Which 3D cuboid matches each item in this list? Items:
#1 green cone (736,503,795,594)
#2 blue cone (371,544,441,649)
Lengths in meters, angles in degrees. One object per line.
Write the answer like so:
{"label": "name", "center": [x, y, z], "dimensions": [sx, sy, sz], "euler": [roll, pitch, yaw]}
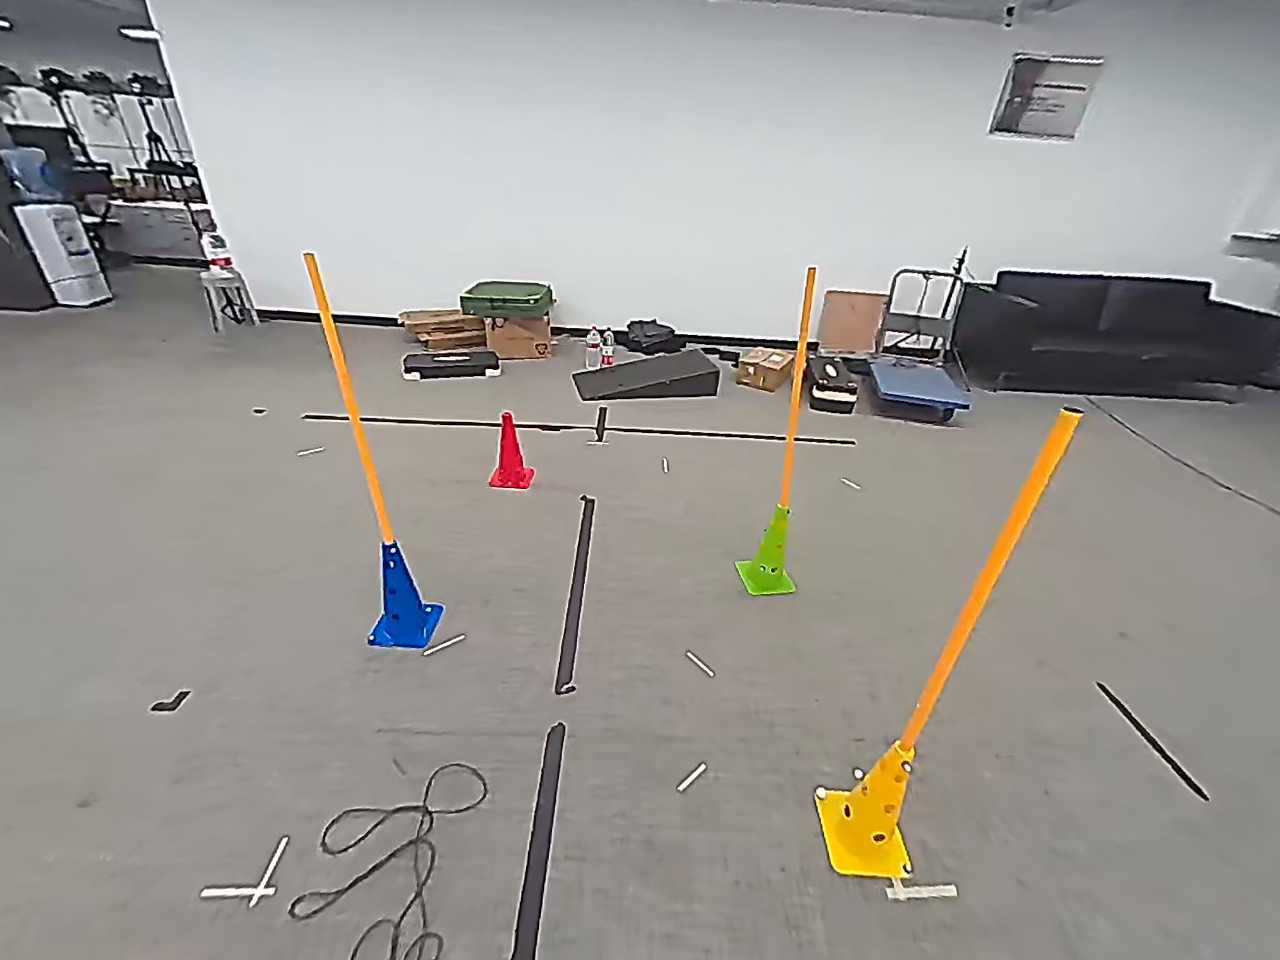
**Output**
{"label": "green cone", "center": [0.524, 0.247, 2.124], "dimensions": [0.200, 0.368, 0.202], "euler": [-3, 33, -11]}
{"label": "blue cone", "center": [-0.793, 0.364, 1.784], "dimensions": [0.193, 0.380, 0.192], "euler": [4, 31, 0]}
